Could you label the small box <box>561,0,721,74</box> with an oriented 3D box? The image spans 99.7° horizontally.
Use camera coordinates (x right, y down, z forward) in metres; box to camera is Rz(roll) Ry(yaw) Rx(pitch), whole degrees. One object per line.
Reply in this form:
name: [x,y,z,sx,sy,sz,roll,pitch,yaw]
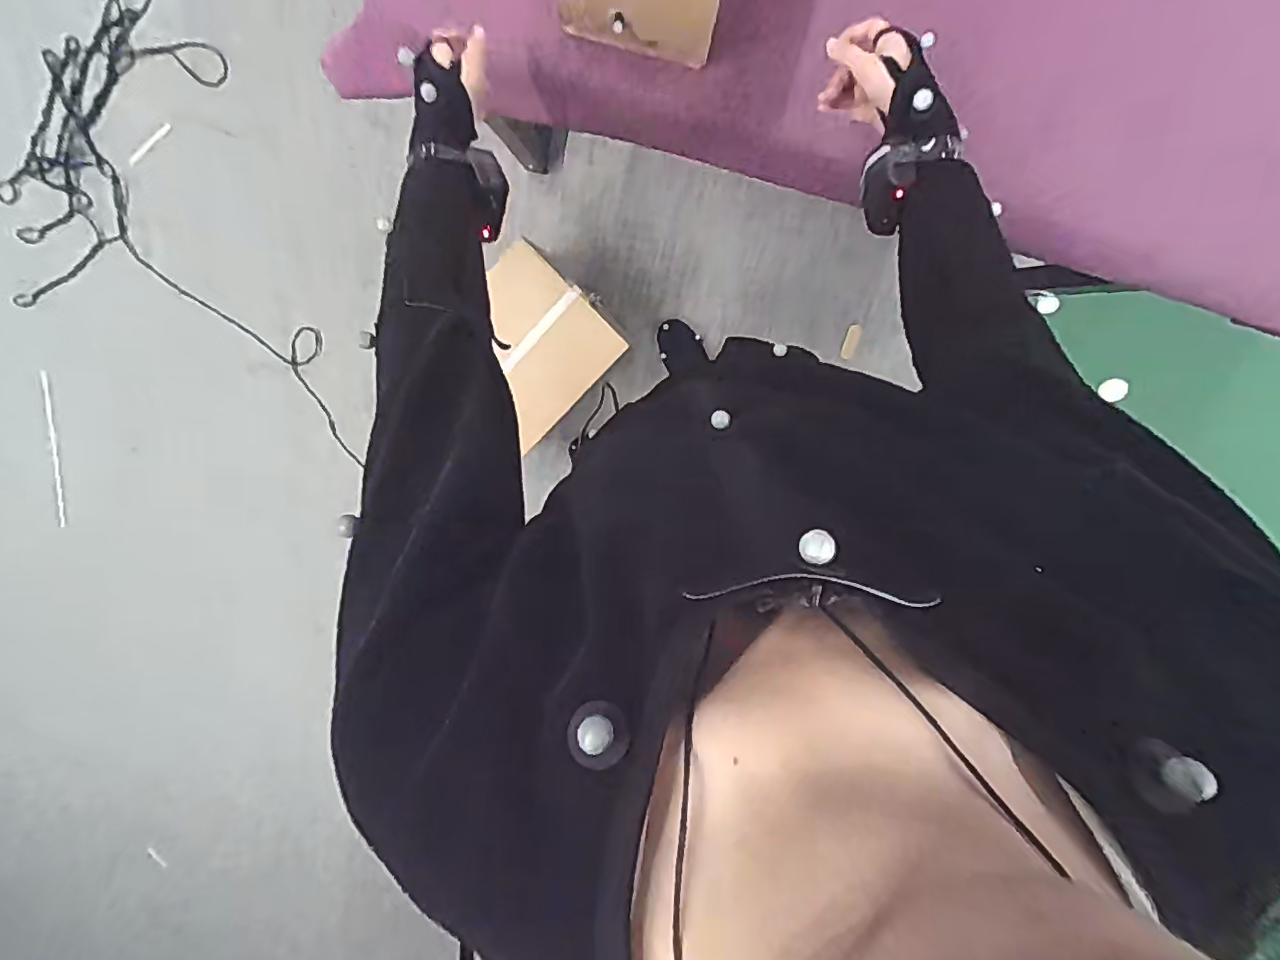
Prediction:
small box: [0.011,-0.544,0.522,0.168,0.176,0.179,13,105,-3]
